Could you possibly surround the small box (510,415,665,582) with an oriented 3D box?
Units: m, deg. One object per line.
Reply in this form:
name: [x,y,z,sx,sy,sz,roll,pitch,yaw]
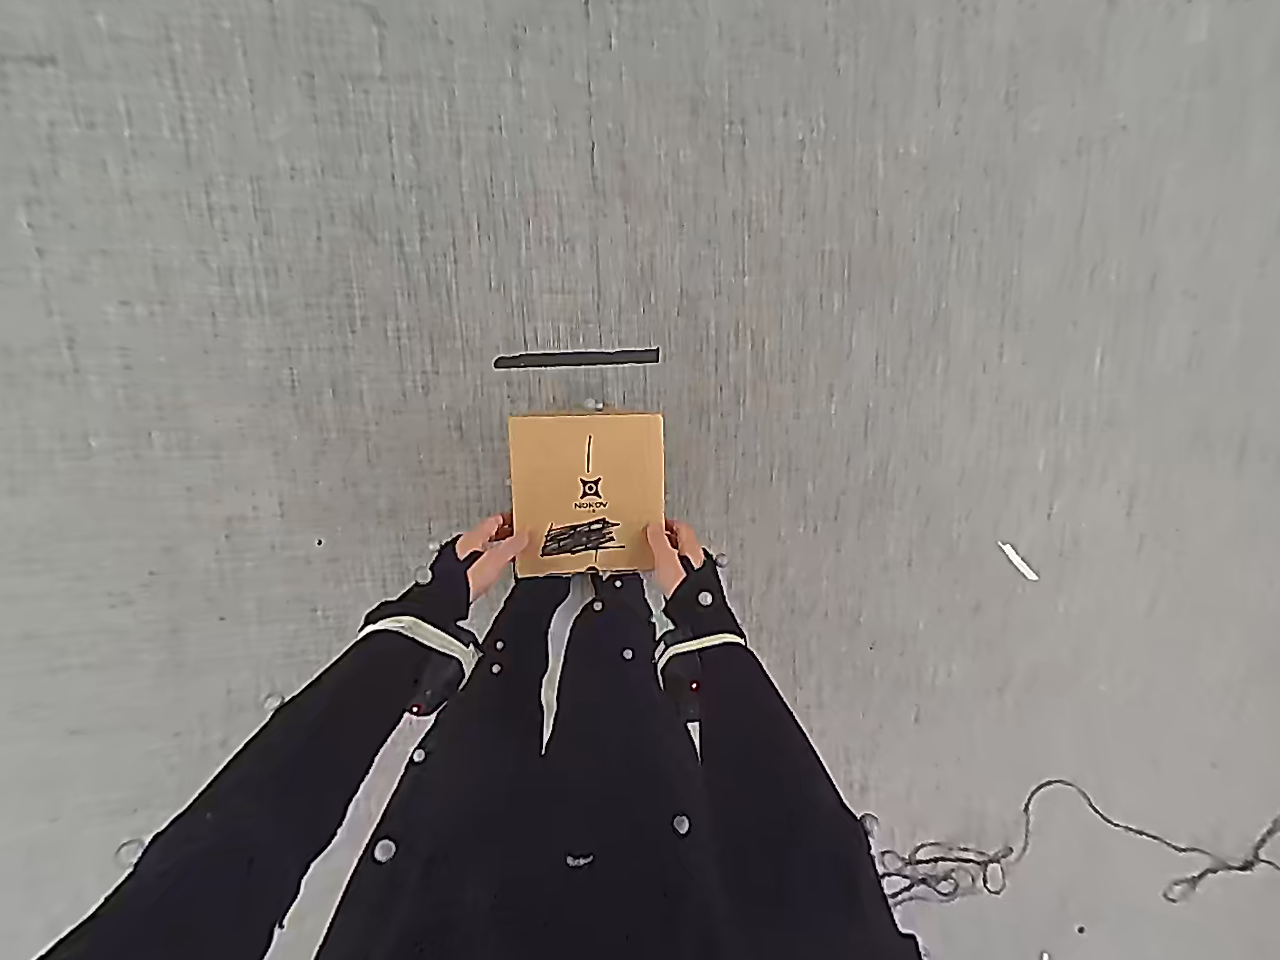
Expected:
small box: [-0.063,0.012,0.658,0.168,0.176,0.179,-2,98,-7]
